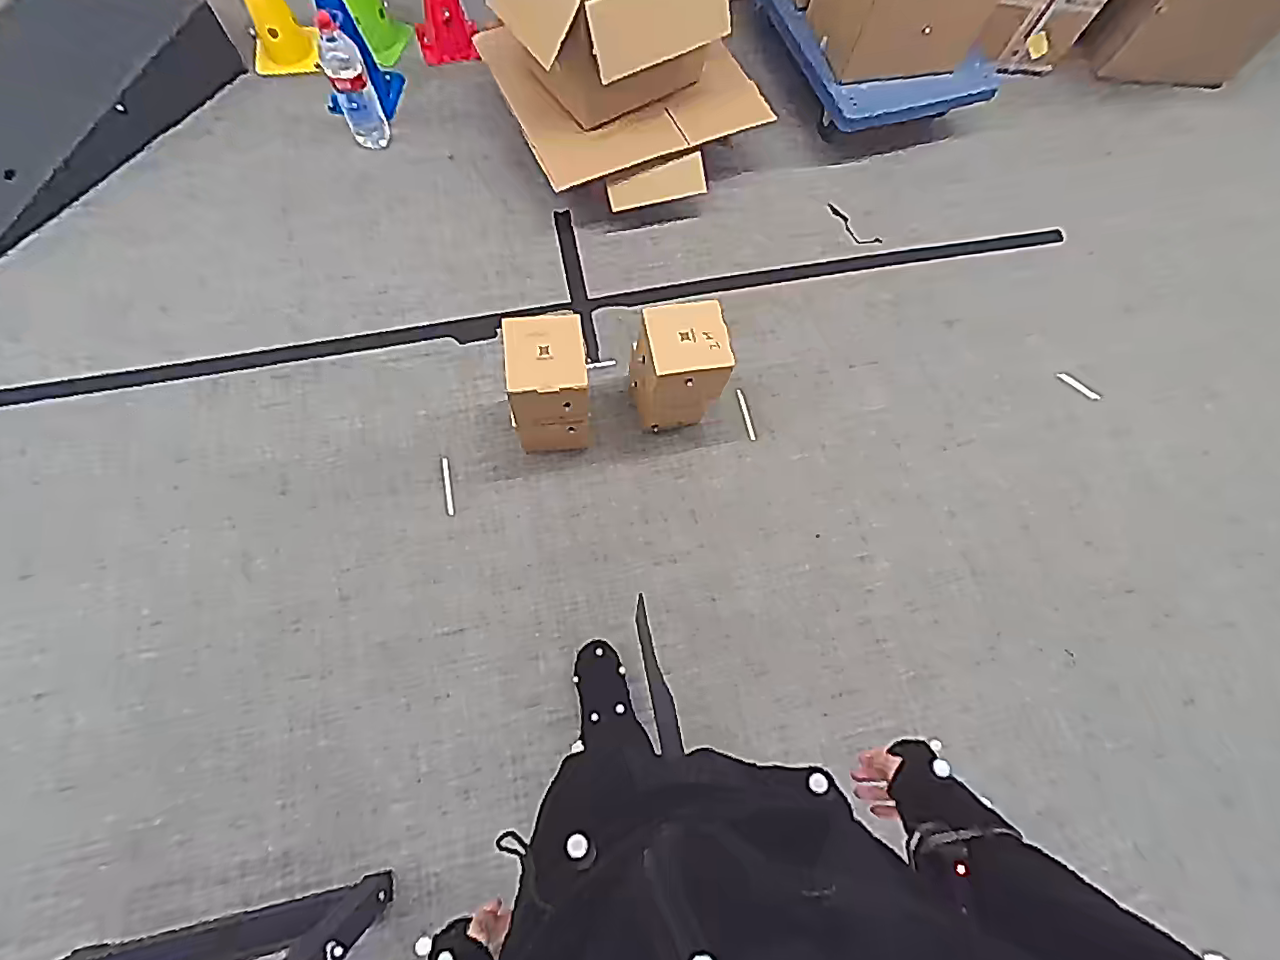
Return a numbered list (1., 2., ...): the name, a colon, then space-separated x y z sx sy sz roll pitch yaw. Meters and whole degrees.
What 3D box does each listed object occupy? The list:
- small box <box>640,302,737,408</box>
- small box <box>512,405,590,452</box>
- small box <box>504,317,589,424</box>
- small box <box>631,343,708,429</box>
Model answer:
1. small box: 0.099 -0.276 1.223 0.179 0.176 0.168 -9 74 -9
2. small box: -0.216 -0.174 1.336 0.179 0.176 0.168 -5 73 -7
3. small box: -0.200 -0.232 1.185 0.168 0.176 0.179 -6 72 -9
4. small box: 0.076 -0.241 1.383 0.168 0.176 0.179 -11 73 -9
